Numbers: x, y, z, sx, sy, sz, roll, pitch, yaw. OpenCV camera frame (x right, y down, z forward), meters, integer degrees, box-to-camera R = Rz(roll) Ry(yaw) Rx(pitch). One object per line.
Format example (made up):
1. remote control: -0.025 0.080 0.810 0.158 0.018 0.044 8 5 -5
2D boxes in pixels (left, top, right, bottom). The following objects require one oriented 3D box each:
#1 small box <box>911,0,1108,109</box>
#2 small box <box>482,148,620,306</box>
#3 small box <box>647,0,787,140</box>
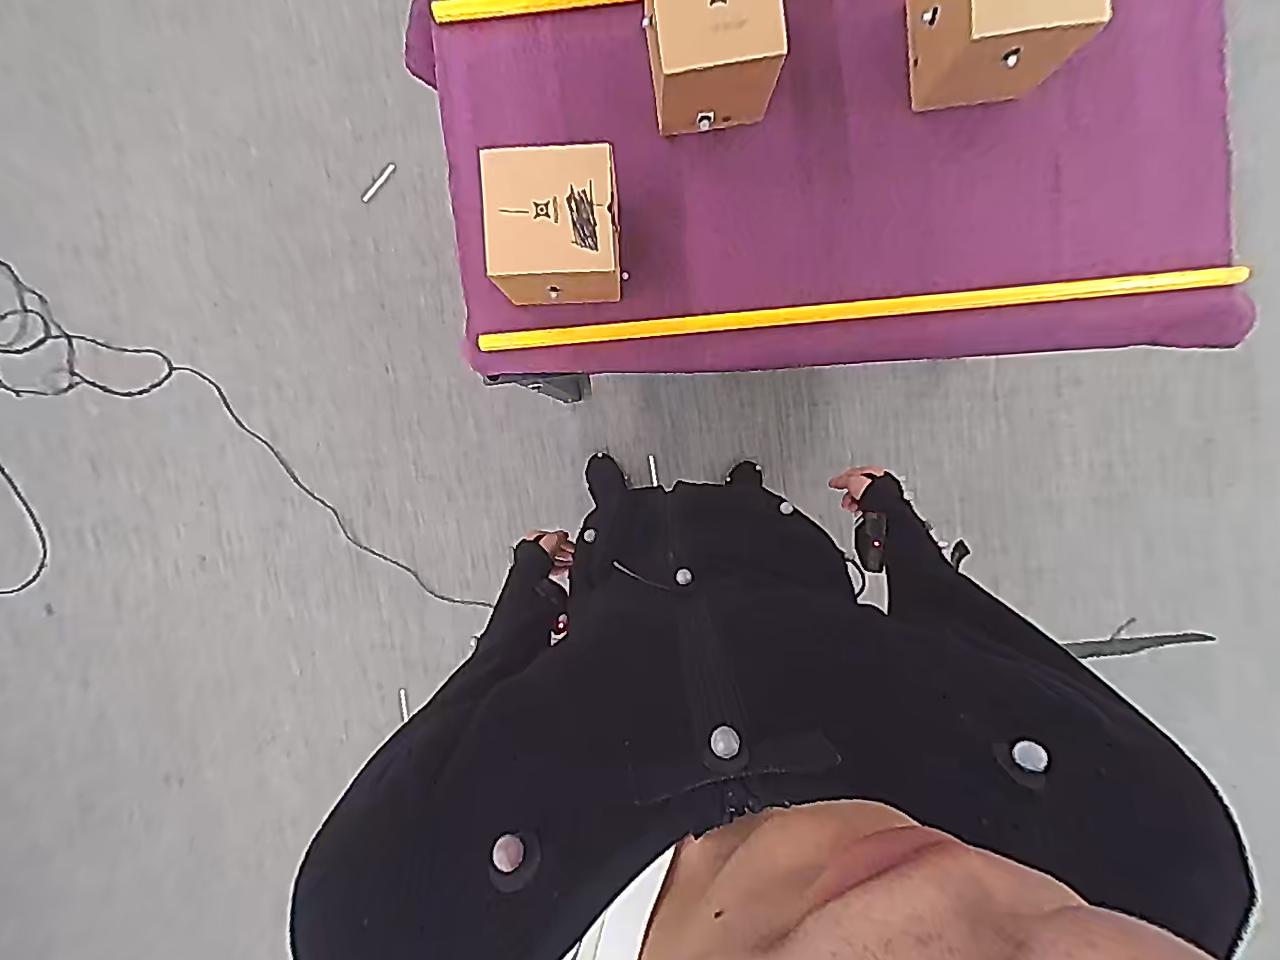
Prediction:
1. small box: 0.501 -0.658 0.760 0.179 0.176 0.168 -6 96 2
2. small box: -0.119 -0.360 0.796 0.179 0.176 0.168 -2 95 1
3. small box: 0.100 -0.630 0.773 0.168 0.176 0.179 -8 95 3
